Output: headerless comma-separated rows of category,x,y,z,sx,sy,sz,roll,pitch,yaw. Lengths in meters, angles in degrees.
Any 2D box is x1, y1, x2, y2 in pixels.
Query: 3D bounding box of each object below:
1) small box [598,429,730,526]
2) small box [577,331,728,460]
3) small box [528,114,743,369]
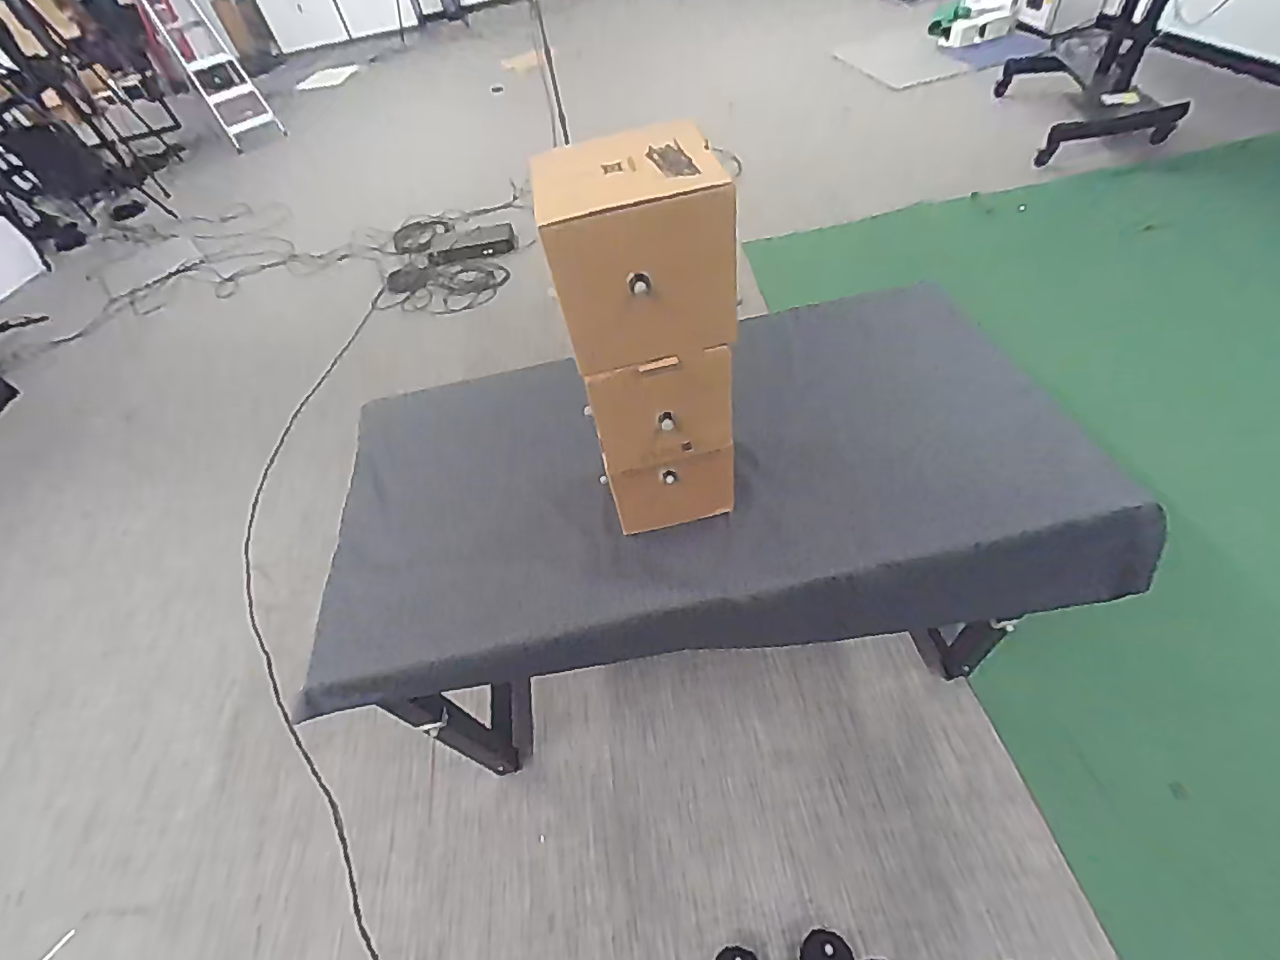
small box,0.034,-0.049,0.825,0.179,0.176,0.168,-12,52,-1
small box,0.013,-0.144,0.693,0.168,0.176,0.179,-13,52,0
small box,-0.004,-0.242,0.562,0.179,0.176,0.168,-14,52,-2
